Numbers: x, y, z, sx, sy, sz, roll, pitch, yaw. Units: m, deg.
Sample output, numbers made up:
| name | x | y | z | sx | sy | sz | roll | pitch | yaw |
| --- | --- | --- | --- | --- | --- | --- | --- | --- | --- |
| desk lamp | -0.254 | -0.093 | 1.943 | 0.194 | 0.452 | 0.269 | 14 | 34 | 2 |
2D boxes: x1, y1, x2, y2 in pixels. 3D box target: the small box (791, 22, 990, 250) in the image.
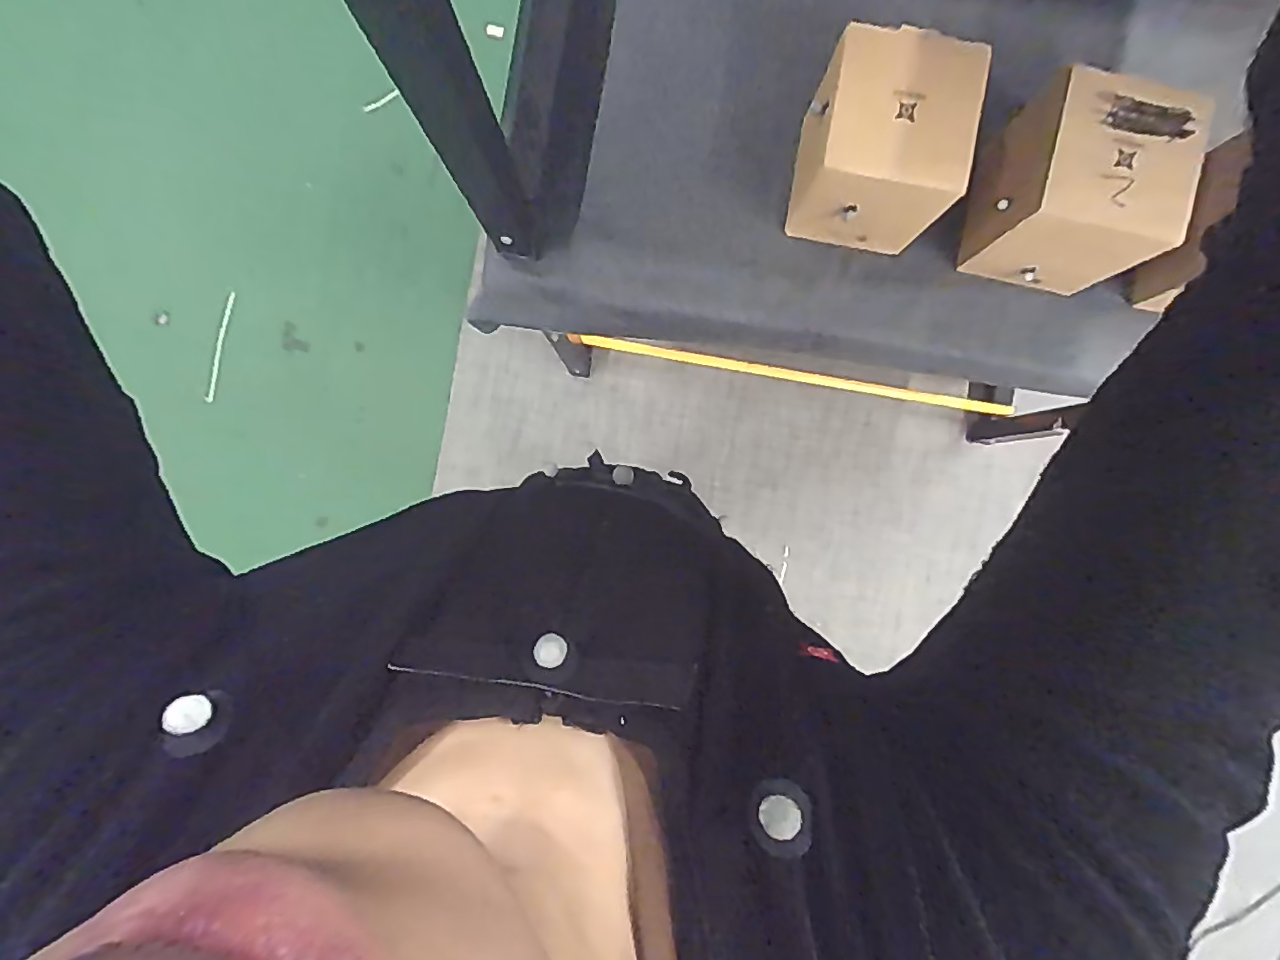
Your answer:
| name | x | y | z | sx | sy | sz | roll | pitch | yaw |
| --- | --- | --- | --- | --- | --- | --- | --- | --- | --- |
| small box | 0.303 | -0.422 | 0.693 | 0.168 | 0.176 | 0.179 | 10 | 89 | 0 |

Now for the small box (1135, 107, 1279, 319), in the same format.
| name | x | y | z | sx | sy | sz | roll | pitch | yaw |
| --- | --- | --- | --- | --- | --- | --- | --- | --- | --- |
| small box | 0.786 | -0.321 | 0.685 | 0.168 | 0.176 | 0.179 | 9 | 88 | 0 |
